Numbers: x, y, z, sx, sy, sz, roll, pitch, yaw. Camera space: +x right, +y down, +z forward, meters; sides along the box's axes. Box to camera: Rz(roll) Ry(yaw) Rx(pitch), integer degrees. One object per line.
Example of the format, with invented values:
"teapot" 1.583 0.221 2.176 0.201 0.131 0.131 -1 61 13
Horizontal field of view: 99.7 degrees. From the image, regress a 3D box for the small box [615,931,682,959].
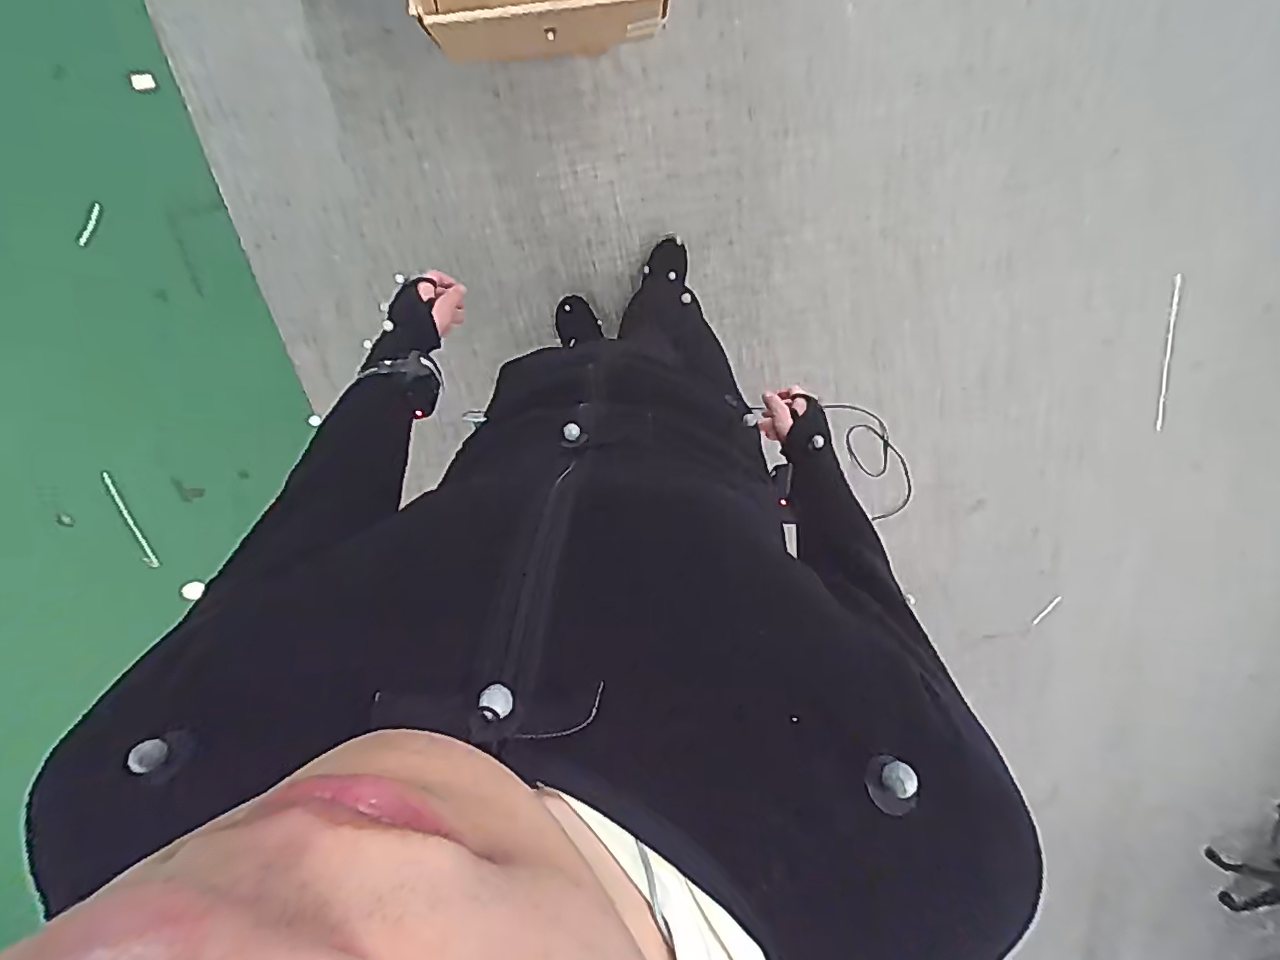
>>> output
"small box" 0.007 1.195 1.251 0.168 0.176 0.179 -27 110 5
